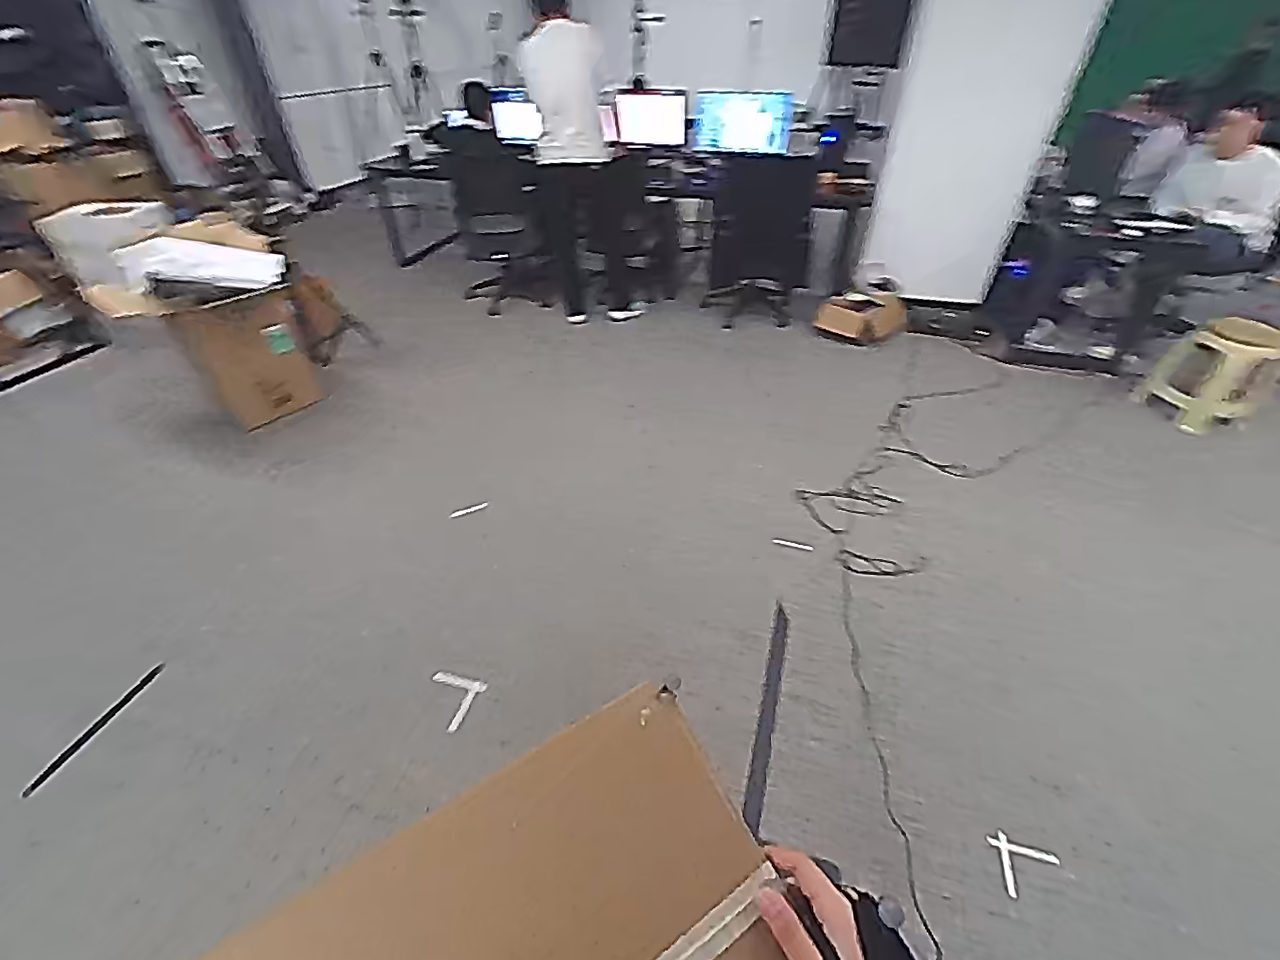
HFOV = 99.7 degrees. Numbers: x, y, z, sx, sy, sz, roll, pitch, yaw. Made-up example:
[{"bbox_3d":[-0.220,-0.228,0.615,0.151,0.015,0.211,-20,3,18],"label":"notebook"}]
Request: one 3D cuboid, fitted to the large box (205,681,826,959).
[{"bbox_3d":[-0.096,0.432,0.443,0.408,0.320,0.320,-23,68,-23],"label":"large box"}]
